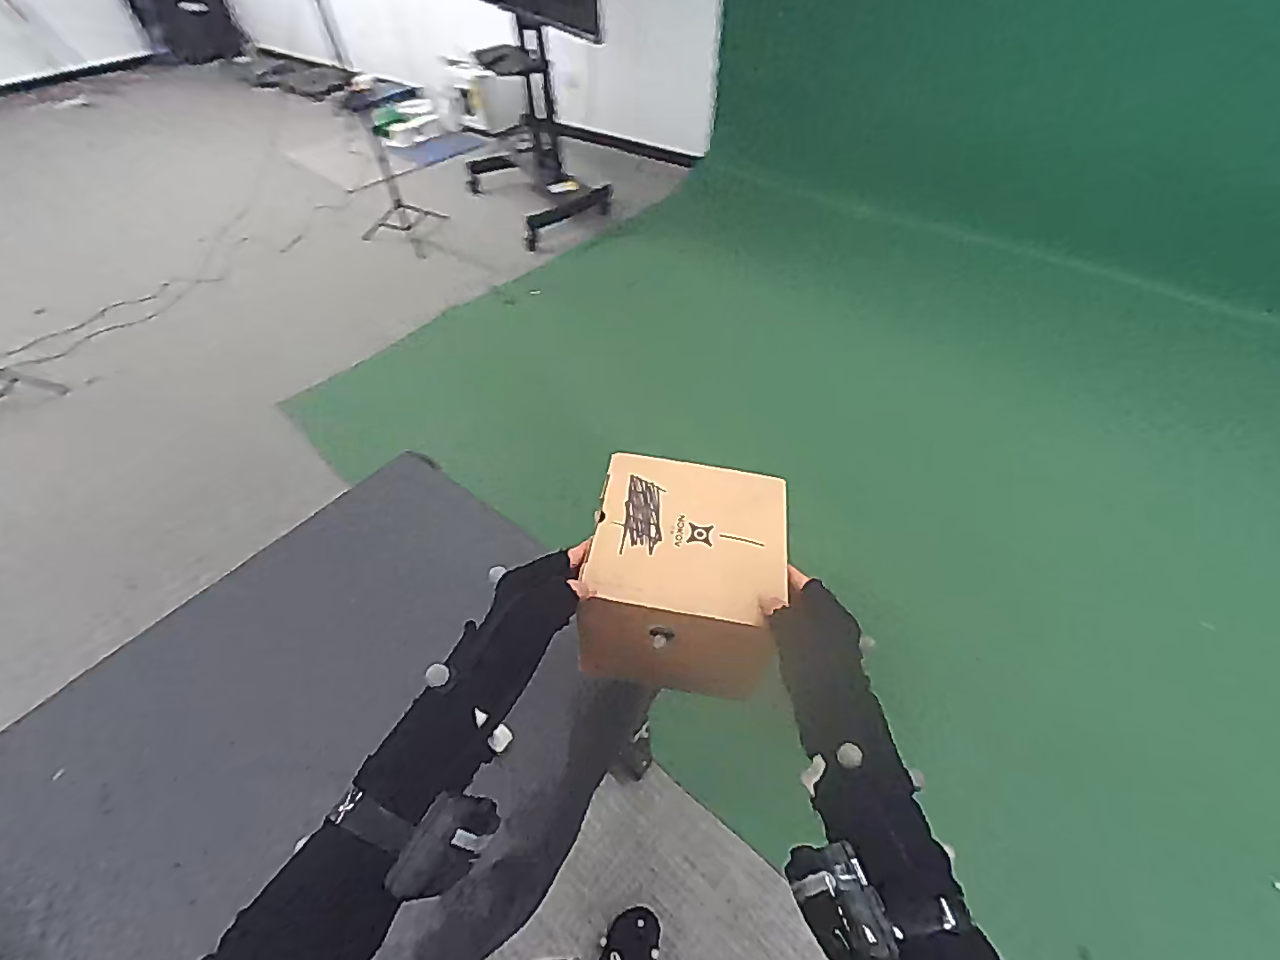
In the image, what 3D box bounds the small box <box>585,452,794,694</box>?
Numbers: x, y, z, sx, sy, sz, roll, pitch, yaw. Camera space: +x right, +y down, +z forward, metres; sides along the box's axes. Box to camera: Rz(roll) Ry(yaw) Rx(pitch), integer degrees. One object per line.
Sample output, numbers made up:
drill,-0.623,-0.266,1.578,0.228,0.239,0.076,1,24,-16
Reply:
small box,0.047,0.098,0.551,0.179,0.176,0.168,11,50,3
